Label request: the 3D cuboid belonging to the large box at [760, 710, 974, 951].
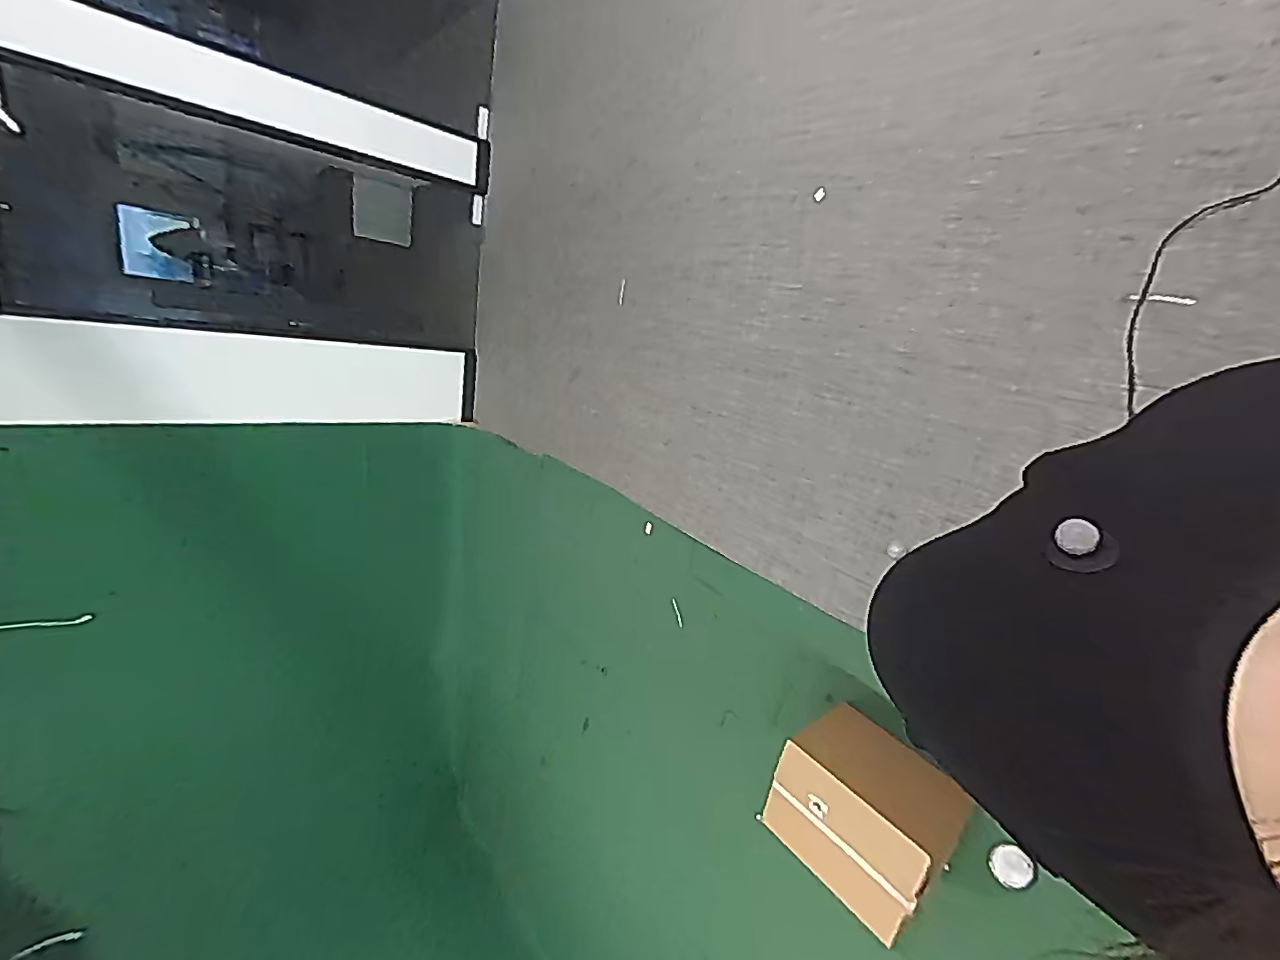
[{"bbox_3d":[0.615,0.928,1.493,0.408,0.320,0.320,30,115,45],"label":"large box"}]
